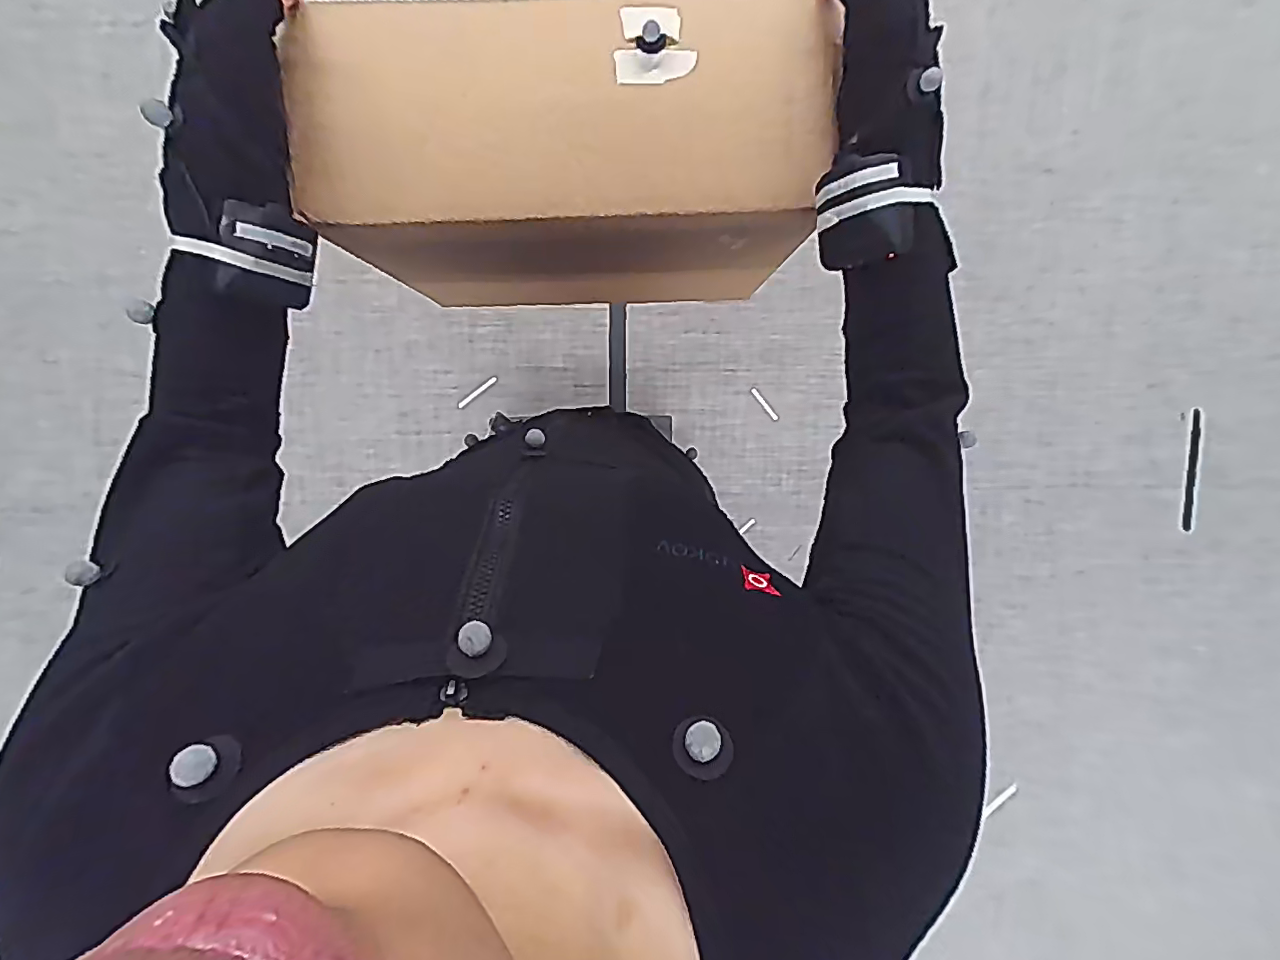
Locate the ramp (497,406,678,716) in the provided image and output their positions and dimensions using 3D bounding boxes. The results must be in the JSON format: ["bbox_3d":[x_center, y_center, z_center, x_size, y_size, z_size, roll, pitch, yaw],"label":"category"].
[{"bbox_3d":[-0.132,0.278,1.602,0.509,0.206,0.991,-3,98,-3],"label":"ramp"}]

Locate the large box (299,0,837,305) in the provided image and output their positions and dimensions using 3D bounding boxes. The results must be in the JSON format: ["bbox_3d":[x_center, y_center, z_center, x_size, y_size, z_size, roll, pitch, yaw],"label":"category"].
[{"bbox_3d":[-0.057,-0.374,0.547,0.408,0.320,0.320,-2,97,-1],"label":"large box"}]
